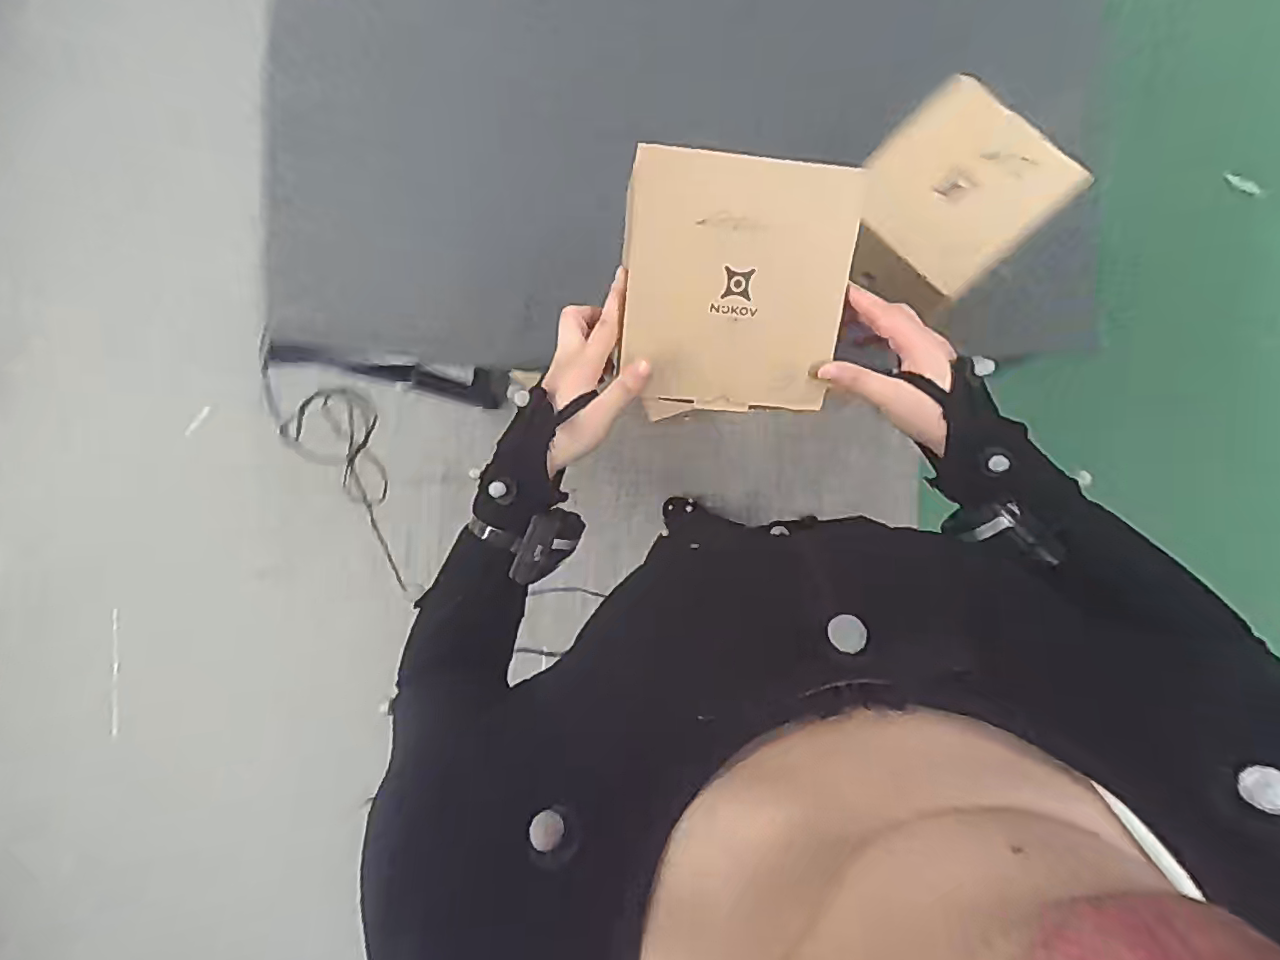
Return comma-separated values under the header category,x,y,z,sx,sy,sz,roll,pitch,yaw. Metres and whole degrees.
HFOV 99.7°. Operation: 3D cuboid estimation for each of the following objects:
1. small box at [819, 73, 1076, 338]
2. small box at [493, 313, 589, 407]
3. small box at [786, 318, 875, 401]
category,x,y,z,sx,sy,sz,roll,pitch,yaw
small box,0.327,-0.295,0.625,0.179,0.176,0.168,-43,80,7
small box,-0.261,-0.317,1.473,0.168,0.176,0.179,34,95,9
small box,0.464,-0.294,1.345,0.179,0.176,0.168,6,91,9
